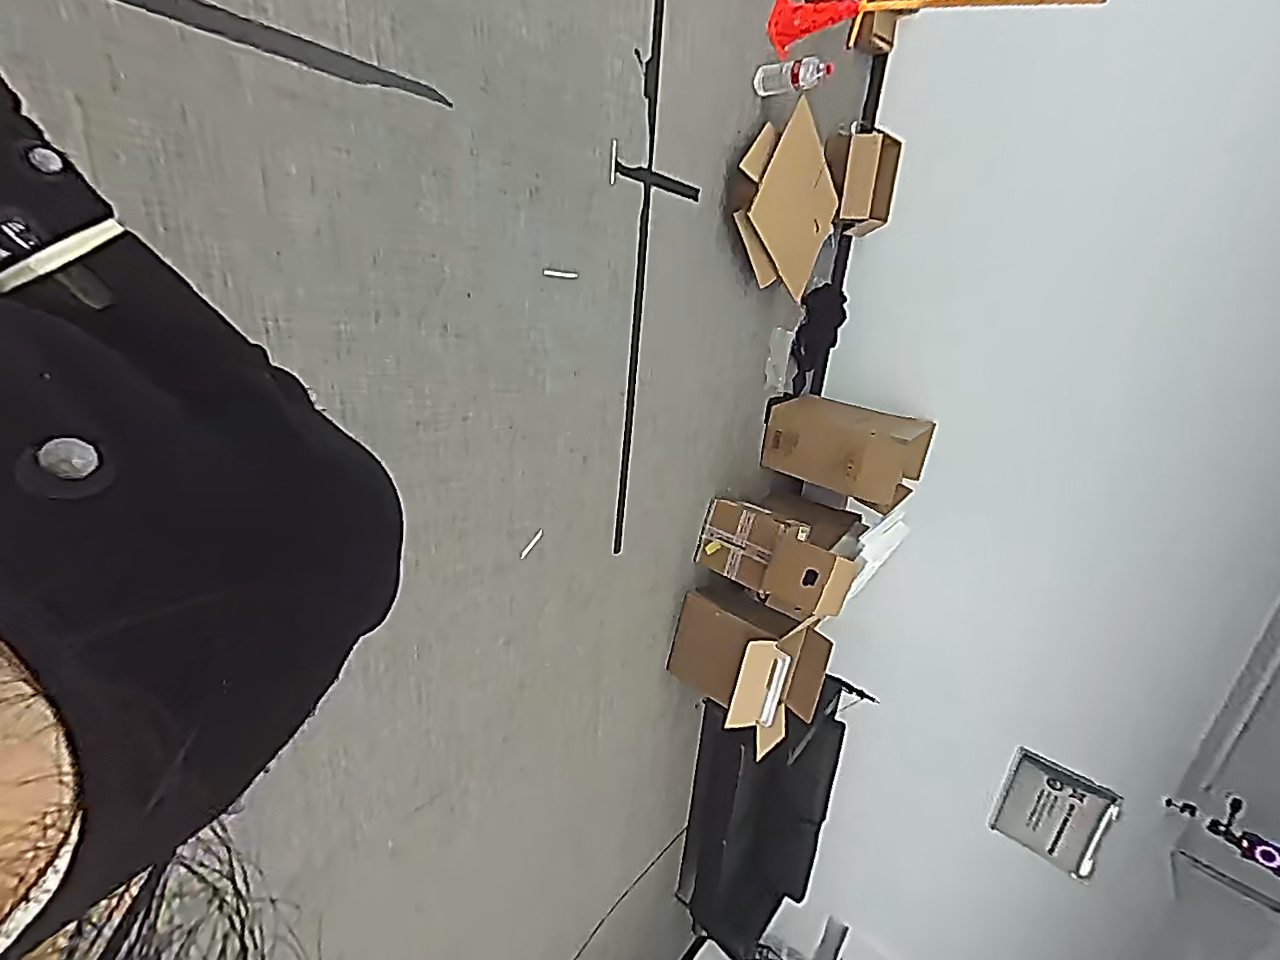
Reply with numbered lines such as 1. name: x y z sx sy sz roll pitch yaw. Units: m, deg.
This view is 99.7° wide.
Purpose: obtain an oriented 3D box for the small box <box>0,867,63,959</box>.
1. small box: -1.089 0.795 0.884 0.179 0.176 0.168 -18 118 -46
